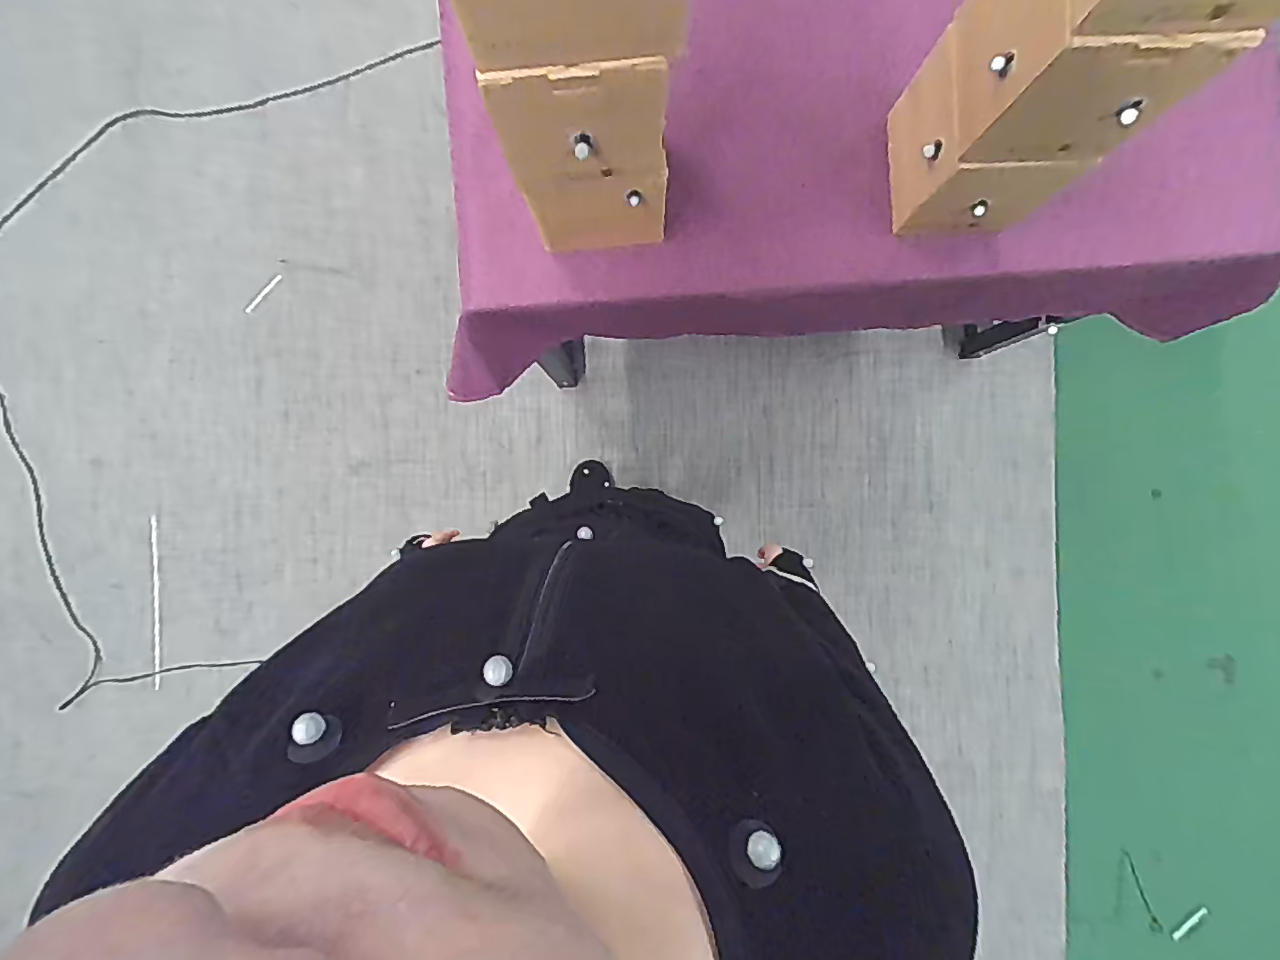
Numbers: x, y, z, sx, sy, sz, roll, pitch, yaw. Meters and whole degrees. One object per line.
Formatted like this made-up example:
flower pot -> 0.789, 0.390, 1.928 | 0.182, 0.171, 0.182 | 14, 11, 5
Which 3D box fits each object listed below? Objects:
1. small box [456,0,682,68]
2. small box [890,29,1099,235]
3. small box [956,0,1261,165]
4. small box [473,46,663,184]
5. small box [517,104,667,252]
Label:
small box -> -0.057, -0.432, 0.380 | 0.179, 0.176, 0.168 | -5, 88, -1
small box -> 0.443, -0.435, 0.701 | 0.168, 0.176, 0.179 | -2, 88, 0
small box -> 0.441, -0.443, 0.538 | 0.168, 0.176, 0.179 | 0, 88, 1
small box -> -0.066, -0.424, 0.545 | 0.168, 0.176, 0.179 | -5, 89, -1
small box -> -0.060, -0.416, 0.709 | 0.179, 0.176, 0.168 | -5, 88, 0
